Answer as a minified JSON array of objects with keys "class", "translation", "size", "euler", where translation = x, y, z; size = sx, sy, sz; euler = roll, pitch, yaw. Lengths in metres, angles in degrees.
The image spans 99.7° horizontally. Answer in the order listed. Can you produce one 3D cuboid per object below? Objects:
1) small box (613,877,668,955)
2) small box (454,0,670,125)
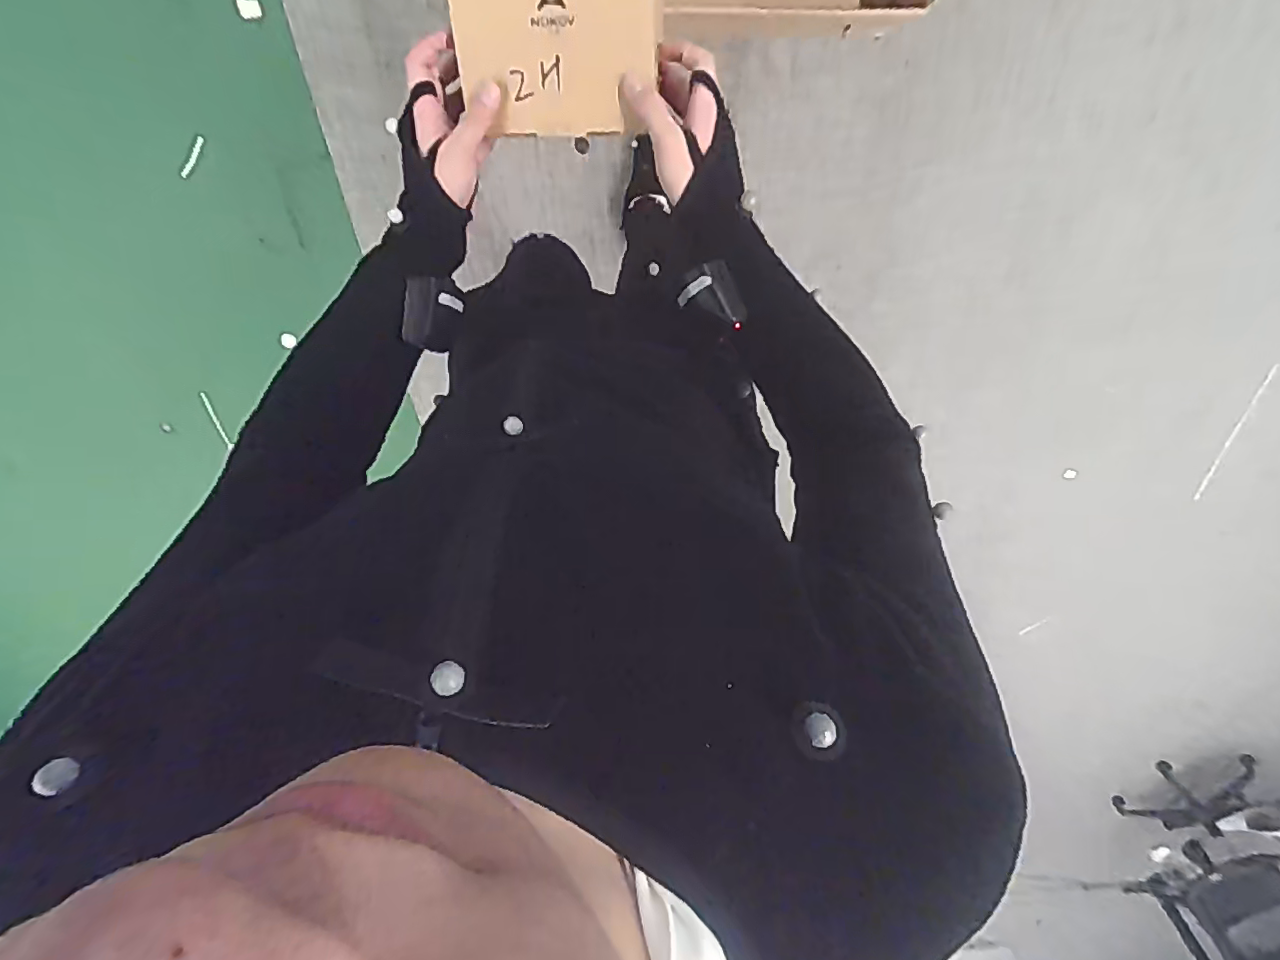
[{"class":"small box","translation":[0.005,1.477,1.833],"size":[0.168,0.176,0.179],"euler":[-6,123,5]},{"class":"small box","translation":[-0.059,-0.424,0.481],"size":[0.168,0.176,0.179],"euler":[2,123,4]}]
